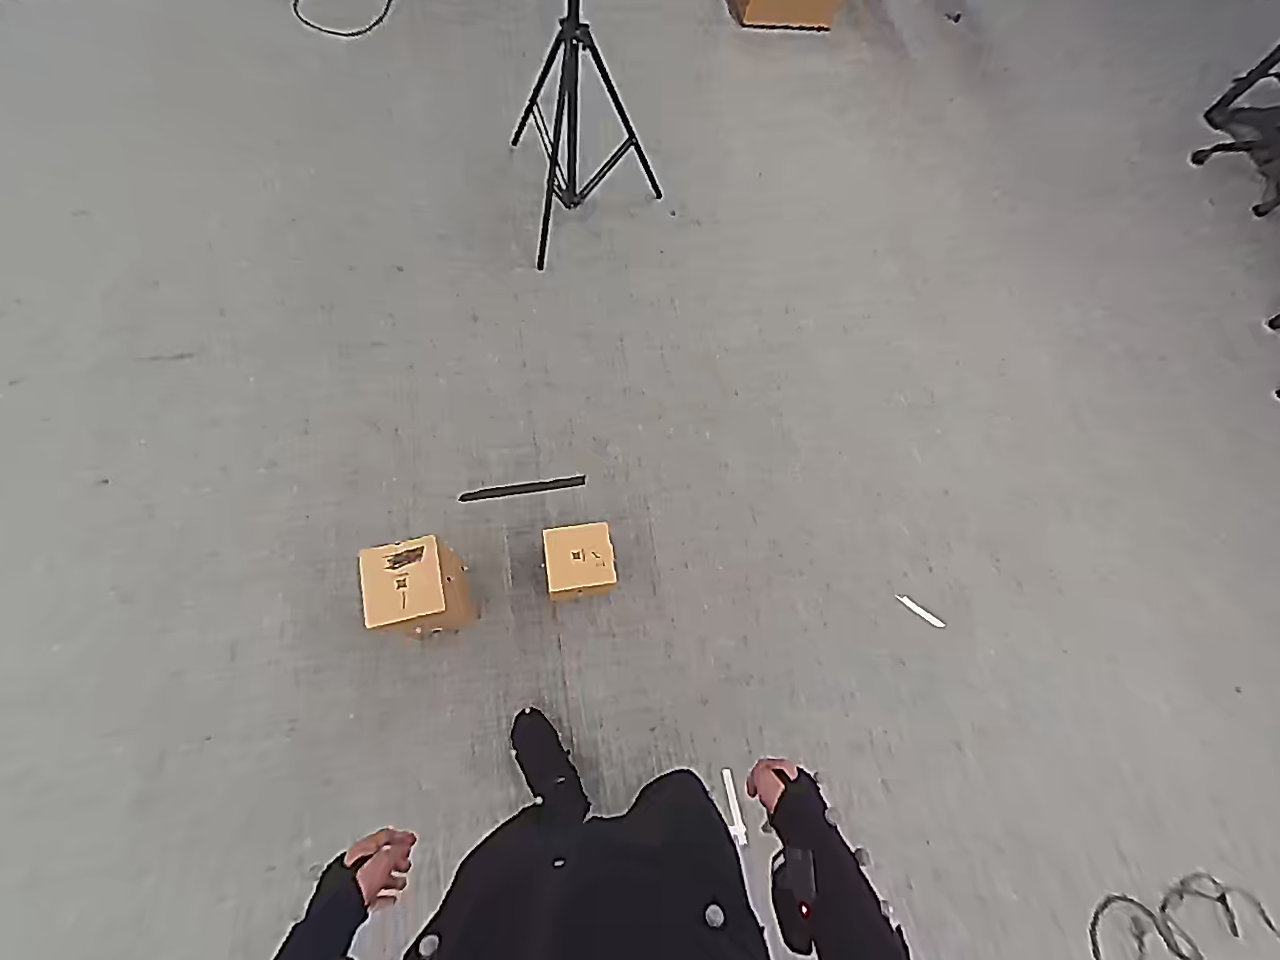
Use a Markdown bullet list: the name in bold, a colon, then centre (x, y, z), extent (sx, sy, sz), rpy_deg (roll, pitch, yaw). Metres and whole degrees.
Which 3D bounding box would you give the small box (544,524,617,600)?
- **small box**: centre (-0.163, 0.228, 1.477), extent (0.179, 0.176, 0.168), rpy_deg (-6, 71, -10)

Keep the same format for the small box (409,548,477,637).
- **small box**: centre (-0.531, 0.296, 1.404), extent (0.168, 0.176, 0.179), rpy_deg (-13, 72, -11)

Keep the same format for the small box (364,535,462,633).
- **small box**: centre (-0.518, 0.245, 1.249), extent (0.168, 0.176, 0.179), rpy_deg (-11, 72, -10)
